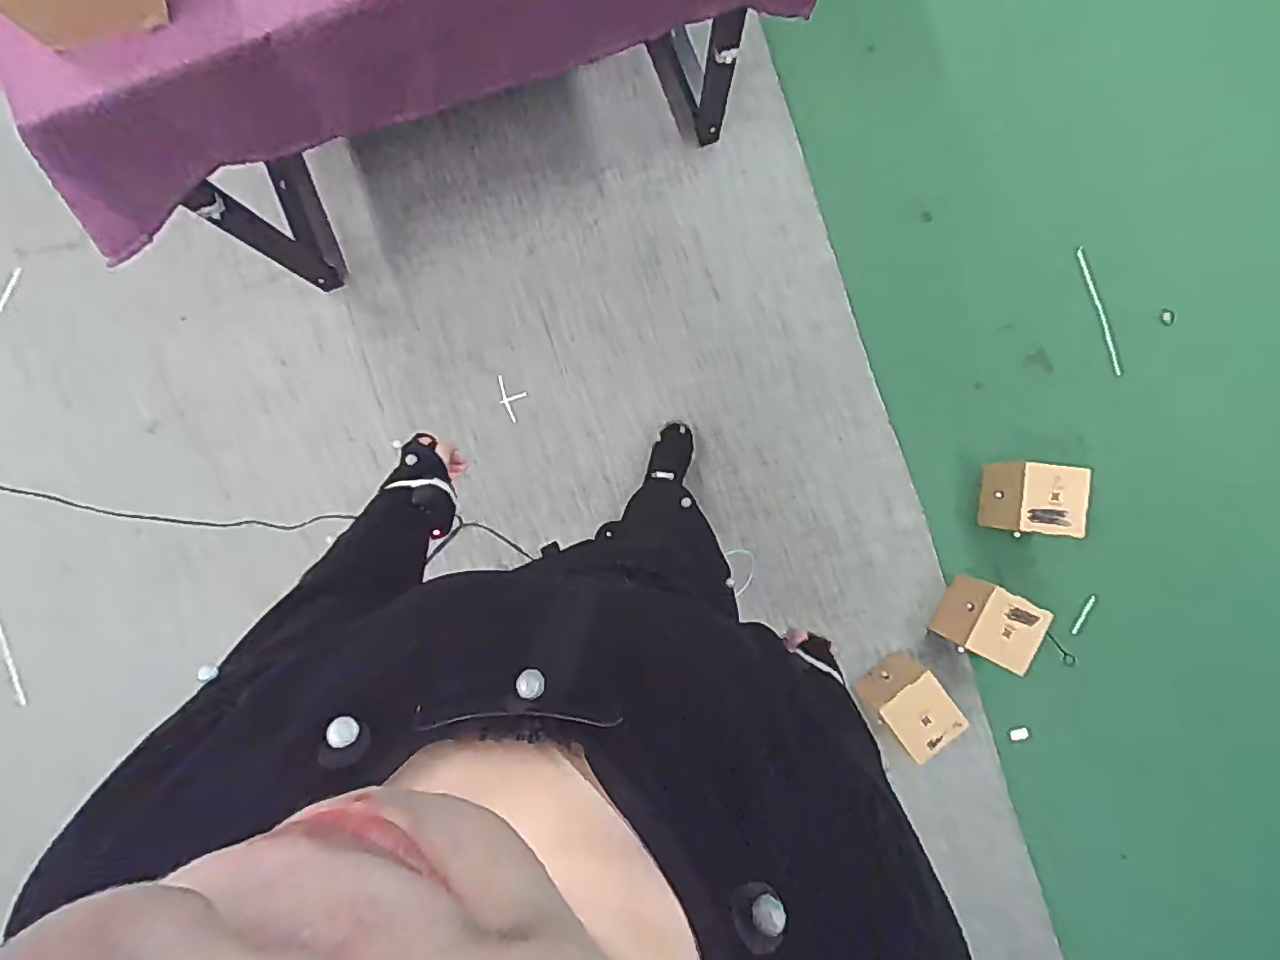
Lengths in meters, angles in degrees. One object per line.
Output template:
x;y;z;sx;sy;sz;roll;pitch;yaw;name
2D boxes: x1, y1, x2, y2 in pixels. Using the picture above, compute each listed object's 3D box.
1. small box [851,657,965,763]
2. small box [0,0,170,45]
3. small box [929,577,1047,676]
0.690;0.587;1.418;0.168;0.176;0.179;-36;90;-1;small box
-0.768;-0.709;0.692;0.179;0.176;0.168;-14;90;-1;small box
0.901;0.375;1.421;0.168;0.176;0.179;28;91;-1;small box
